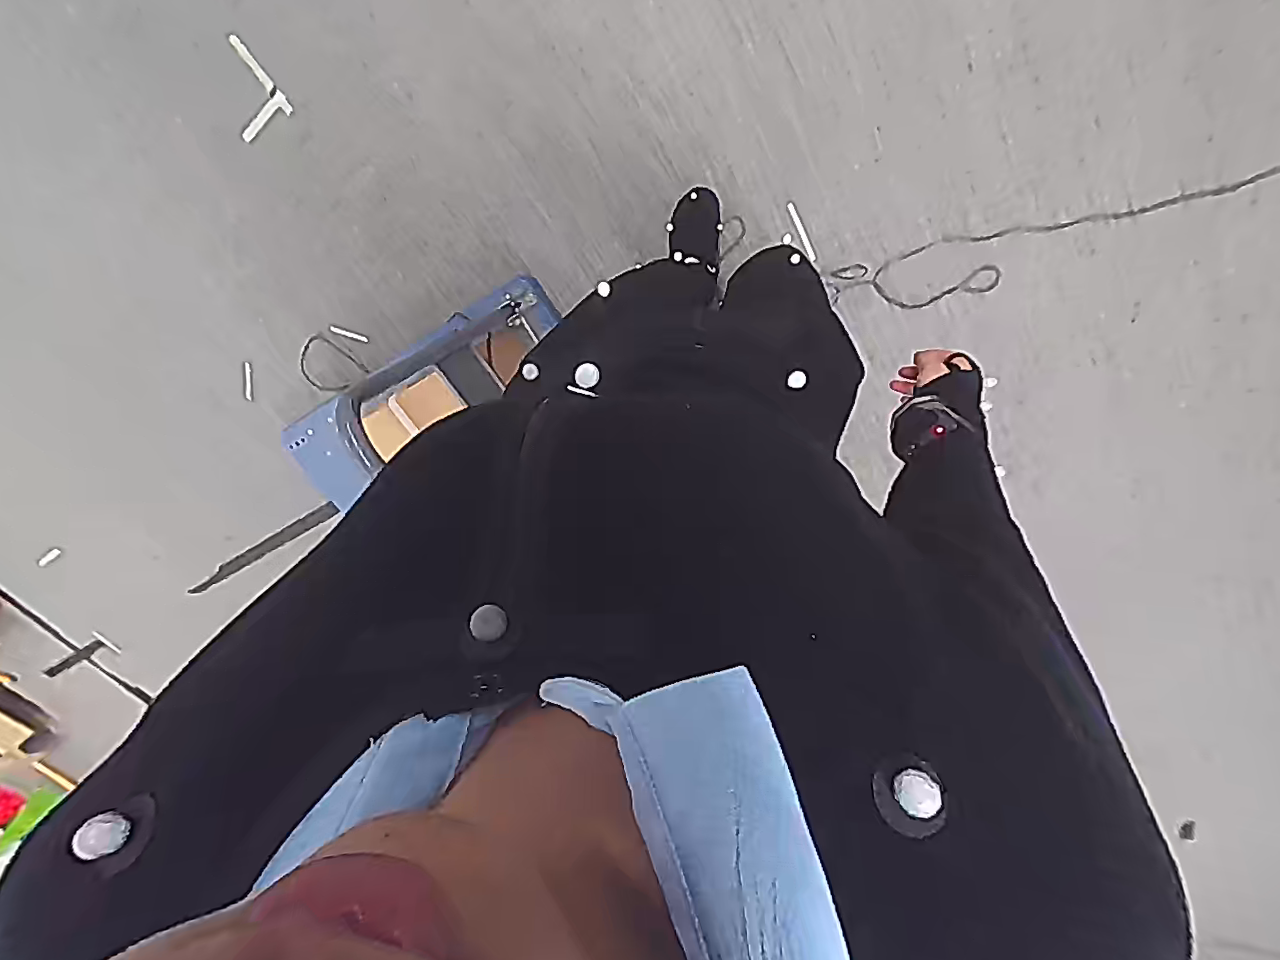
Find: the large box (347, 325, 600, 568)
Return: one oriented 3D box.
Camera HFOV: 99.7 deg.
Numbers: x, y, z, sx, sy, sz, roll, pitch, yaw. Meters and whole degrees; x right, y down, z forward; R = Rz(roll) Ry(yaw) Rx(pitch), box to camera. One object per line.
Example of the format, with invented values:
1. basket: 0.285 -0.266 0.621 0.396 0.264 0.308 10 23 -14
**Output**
1. large box: -0.347 -0.080 1.242 0.320 0.320 0.408 -24 111 20
